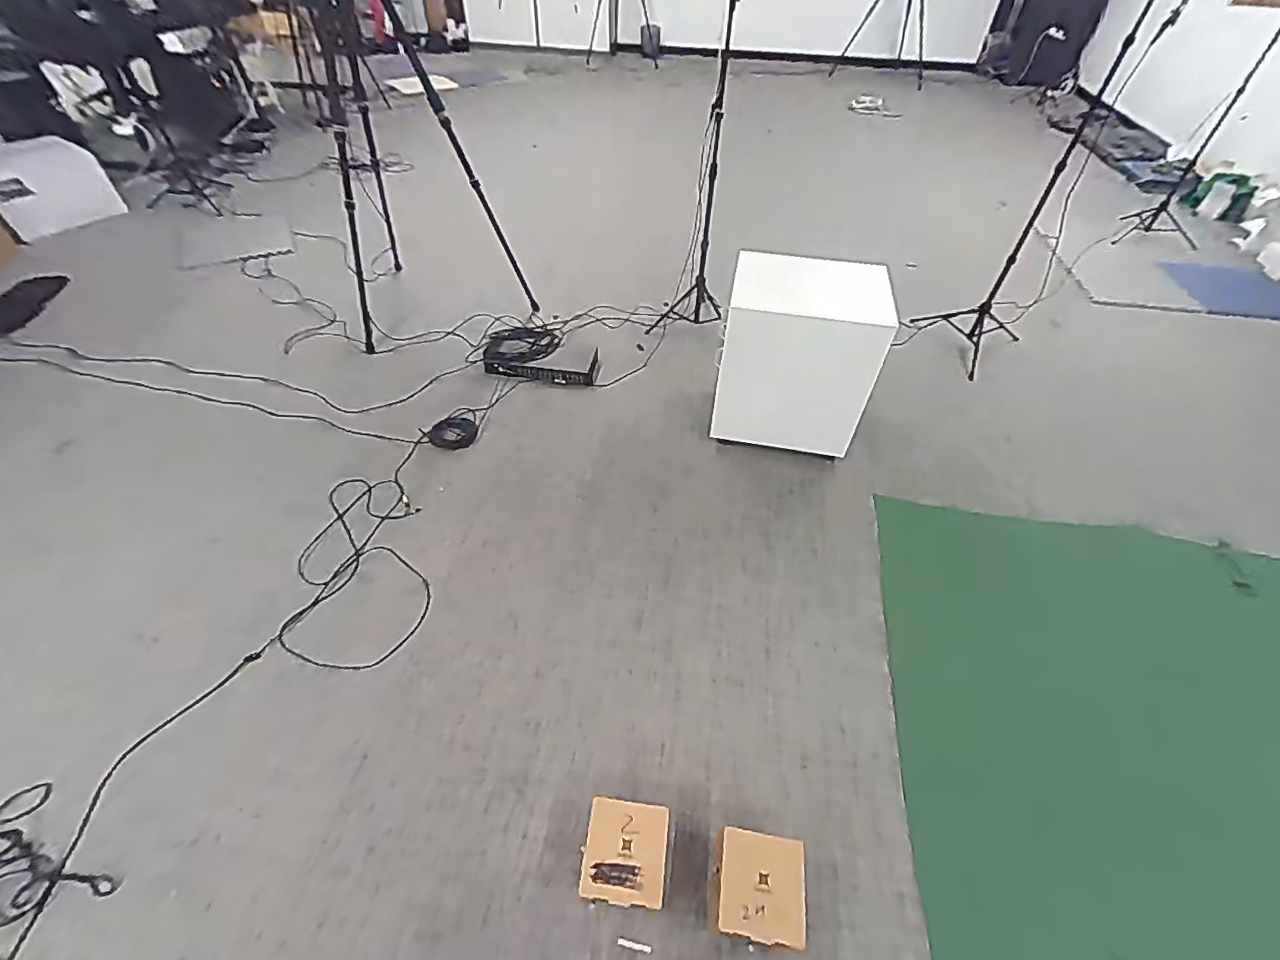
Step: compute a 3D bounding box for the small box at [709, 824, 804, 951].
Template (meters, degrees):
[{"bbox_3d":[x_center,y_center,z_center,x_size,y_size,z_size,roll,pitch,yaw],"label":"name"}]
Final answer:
[{"bbox_3d":[0.240,0.854,1.133,0.168,0.176,0.179,8,49,7],"label":"small box"}]
